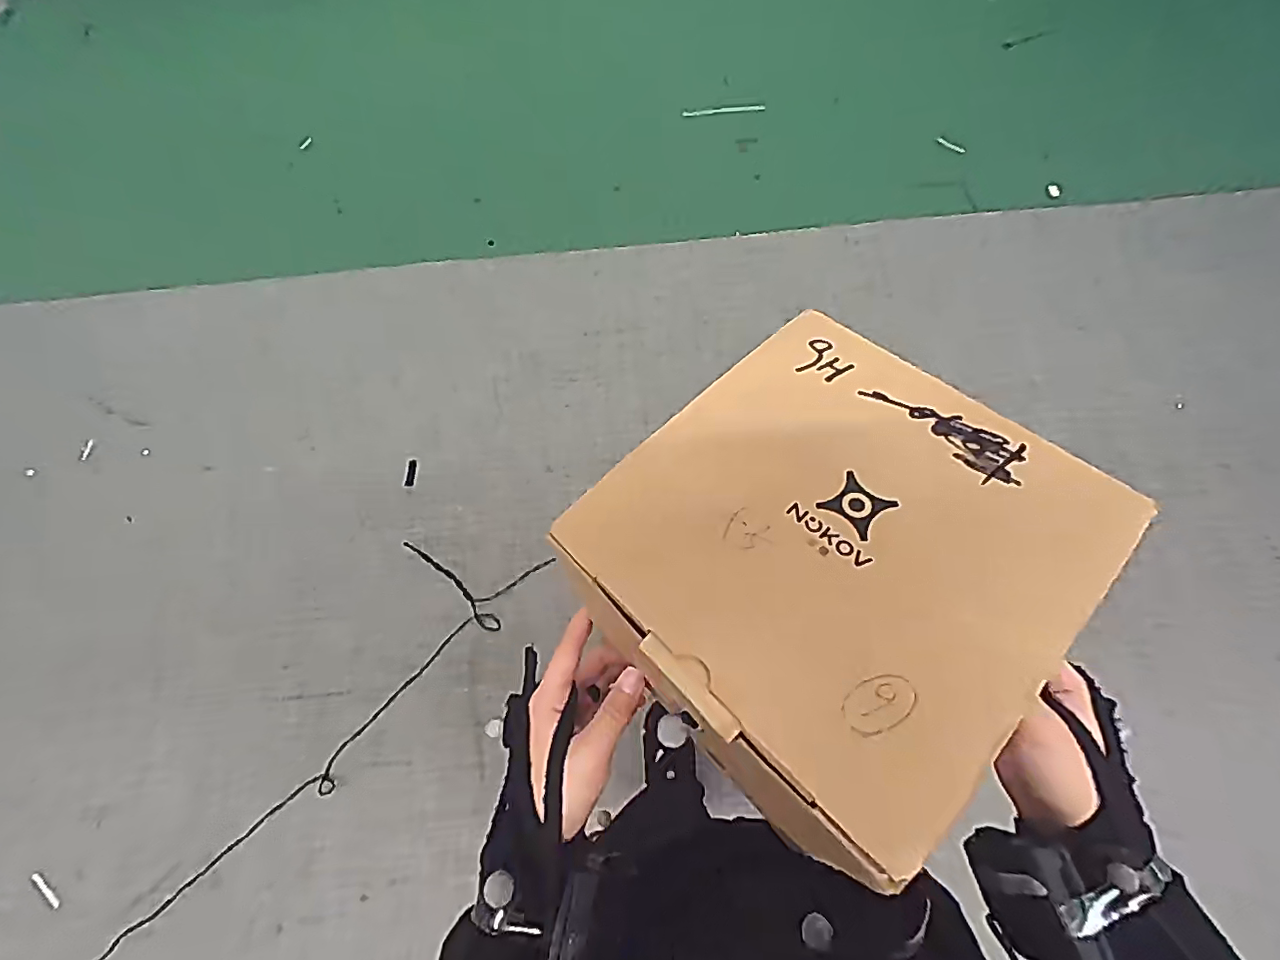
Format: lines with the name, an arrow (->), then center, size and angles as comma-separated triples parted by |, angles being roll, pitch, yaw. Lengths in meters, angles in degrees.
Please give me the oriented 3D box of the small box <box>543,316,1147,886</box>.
small box -> 0.083, 0.059, 0.281 | 0.179, 0.176, 0.168 | -41, 63, -17
